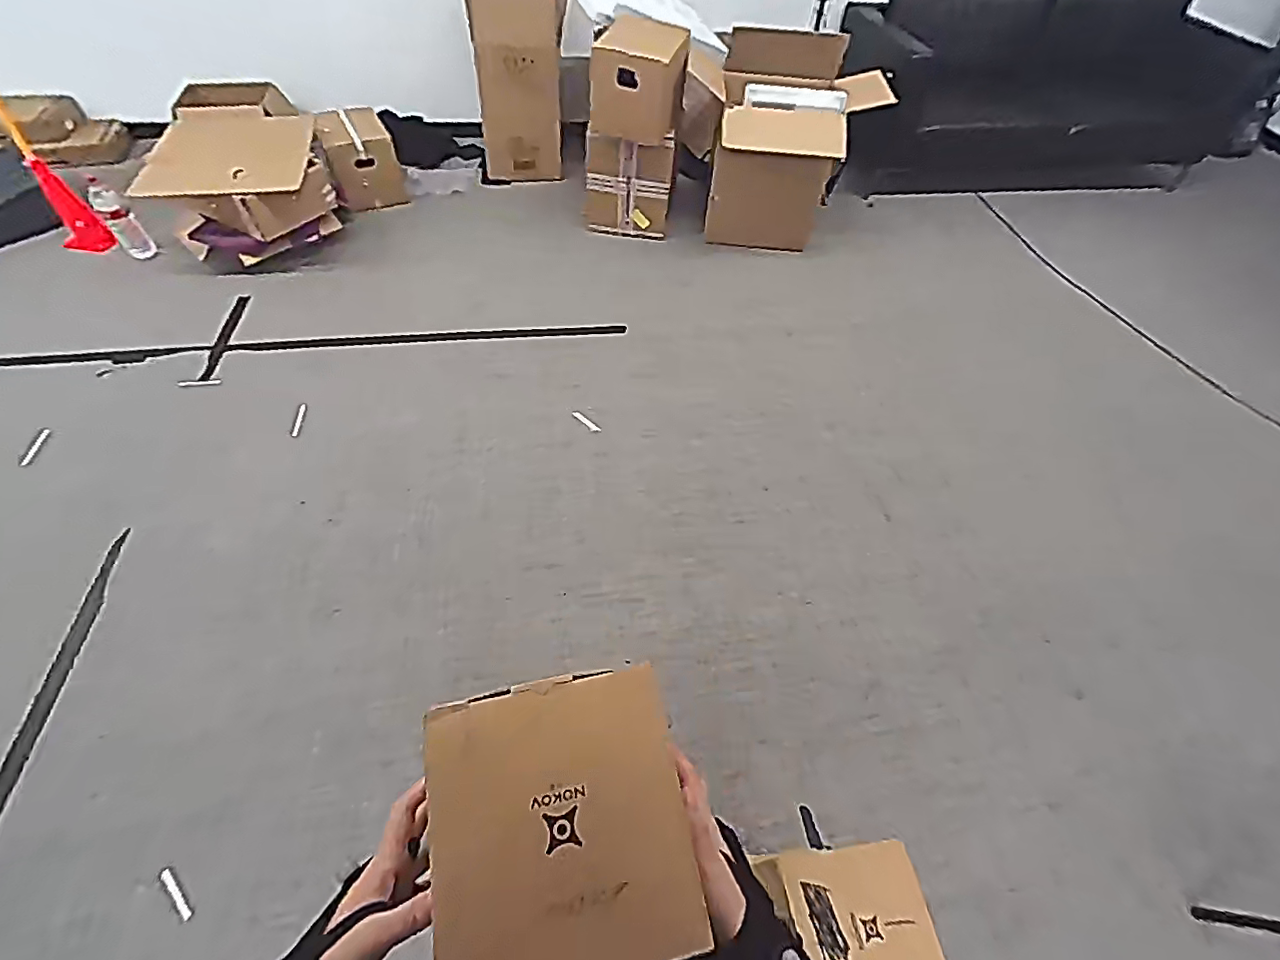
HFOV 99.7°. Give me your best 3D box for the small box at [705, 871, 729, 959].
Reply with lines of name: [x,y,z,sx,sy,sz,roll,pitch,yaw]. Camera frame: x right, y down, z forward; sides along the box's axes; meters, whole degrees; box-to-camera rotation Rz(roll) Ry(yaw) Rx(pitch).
small box: [0.239,0.898,1.103,0.168,0.176,0.179,-5,53,-7]

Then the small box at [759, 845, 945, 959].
small box: [0.268,0.598,0.713,0.179,0.176,0.168,-3,53,-8]

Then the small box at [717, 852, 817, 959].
small box: [0.243,0.793,0.976,0.168,0.176,0.179,-3,53,-5]

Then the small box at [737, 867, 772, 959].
small box: [0.257,0.701,0.842,0.179,0.176,0.168,-4,53,-6]

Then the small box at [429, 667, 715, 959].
small box: [-0.058,0.259,0.419,0.168,0.176,0.179,-8,66,-10]
